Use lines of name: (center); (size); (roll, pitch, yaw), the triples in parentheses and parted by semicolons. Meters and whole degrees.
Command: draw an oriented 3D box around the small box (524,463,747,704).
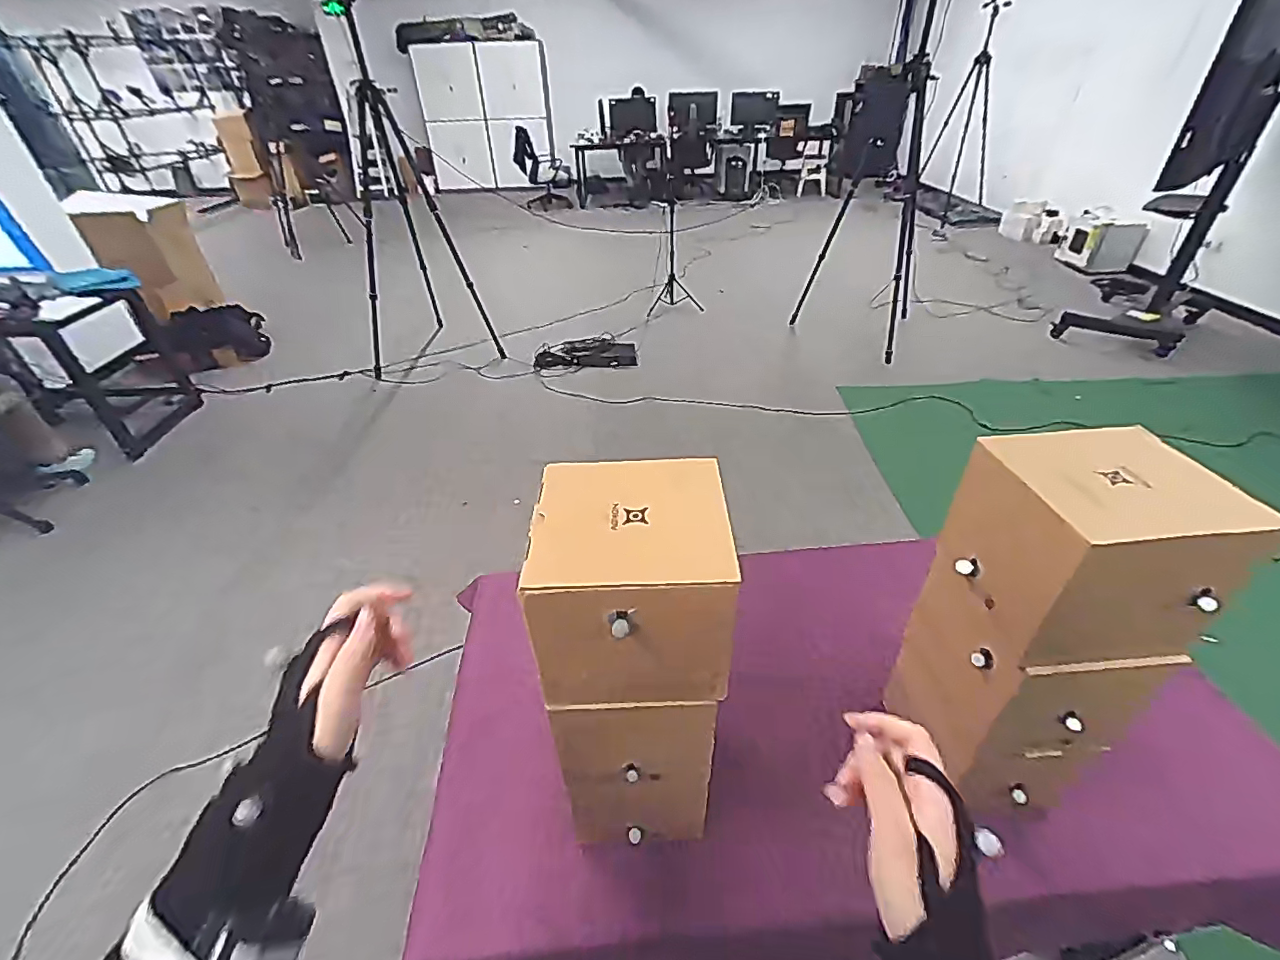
small box: (-0.001, 0.100, 0.528); (0.179, 0.176, 0.168); (-2, 38, 1)

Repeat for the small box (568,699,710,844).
small box: (-0.001, 0.359, 0.729); (0.168, 0.176, 0.179); (-2, 38, 0)

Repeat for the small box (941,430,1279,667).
small box: (0.445, 0.067, 0.545); (0.179, 0.176, 0.168); (-4, 36, -1)

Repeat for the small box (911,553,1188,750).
small box: (0.455, 0.200, 0.640); (0.168, 0.176, 0.179); (-3, 37, -2)

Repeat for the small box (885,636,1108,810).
small box: (0.464, 0.330, 0.741); (0.168, 0.176, 0.179); (-3, 38, -1)
